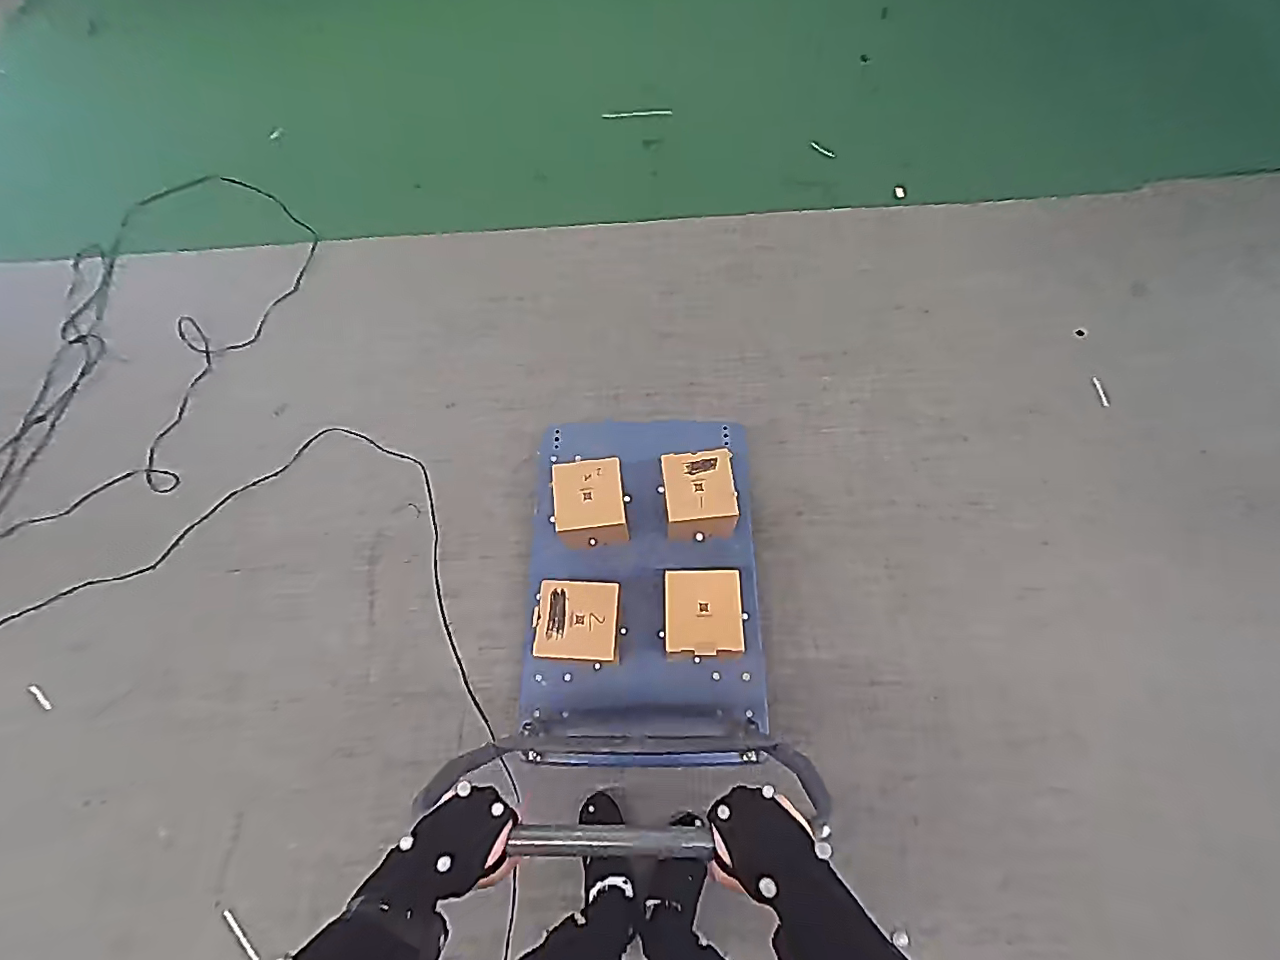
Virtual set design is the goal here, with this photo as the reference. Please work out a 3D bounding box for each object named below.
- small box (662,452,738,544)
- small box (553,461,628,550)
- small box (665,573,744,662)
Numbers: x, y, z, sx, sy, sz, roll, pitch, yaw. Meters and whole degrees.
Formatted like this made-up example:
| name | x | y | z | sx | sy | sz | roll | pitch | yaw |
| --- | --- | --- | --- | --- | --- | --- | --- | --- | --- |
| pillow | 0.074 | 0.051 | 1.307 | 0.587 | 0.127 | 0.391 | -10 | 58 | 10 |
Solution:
| name | x | y | z | sx | sy | sz | roll | pitch | yaw |
| --- | --- | --- | --- | --- | --- | --- | --- | --- | --- |
| small box | 0.144 | 0.050 | 1.361 | 0.168 | 0.176 | 0.179 | -6 | 67 | 0 |
| small box | -0.121 | 0.071 | 1.362 | 0.168 | 0.176 | 0.179 | -6 | 66 | -1 |
| small box | 0.141 | 0.319 | 1.243 | 0.168 | 0.176 | 0.179 | -1 | 67 | 2 |
